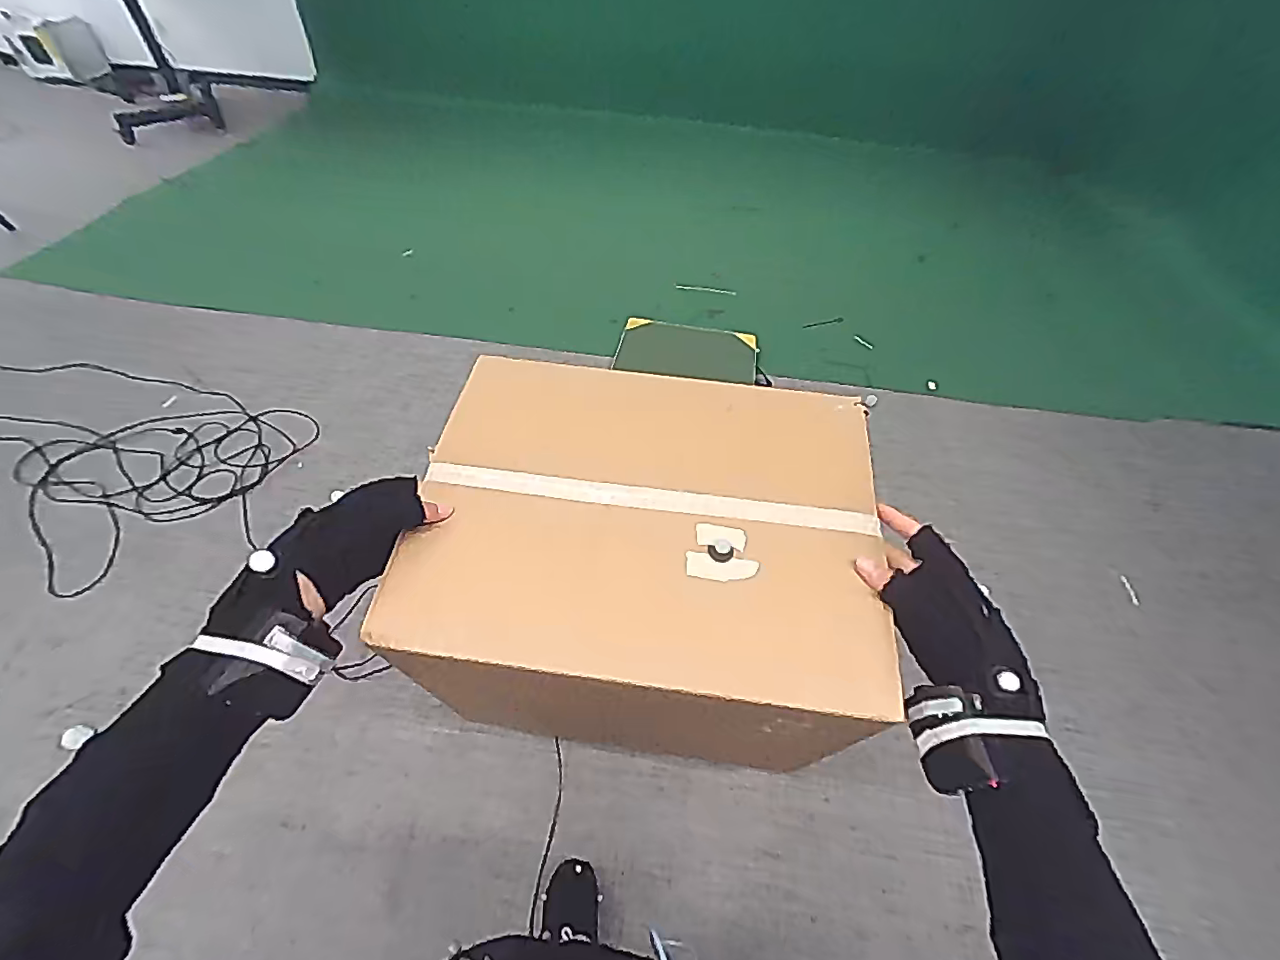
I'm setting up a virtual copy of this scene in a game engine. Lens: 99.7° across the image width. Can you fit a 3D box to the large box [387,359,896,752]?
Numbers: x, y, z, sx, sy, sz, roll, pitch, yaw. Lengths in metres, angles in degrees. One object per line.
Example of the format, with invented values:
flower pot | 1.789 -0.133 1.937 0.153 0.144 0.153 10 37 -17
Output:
large box | 0.008 0.097 0.617 0.408 0.320 0.320 7 57 3
